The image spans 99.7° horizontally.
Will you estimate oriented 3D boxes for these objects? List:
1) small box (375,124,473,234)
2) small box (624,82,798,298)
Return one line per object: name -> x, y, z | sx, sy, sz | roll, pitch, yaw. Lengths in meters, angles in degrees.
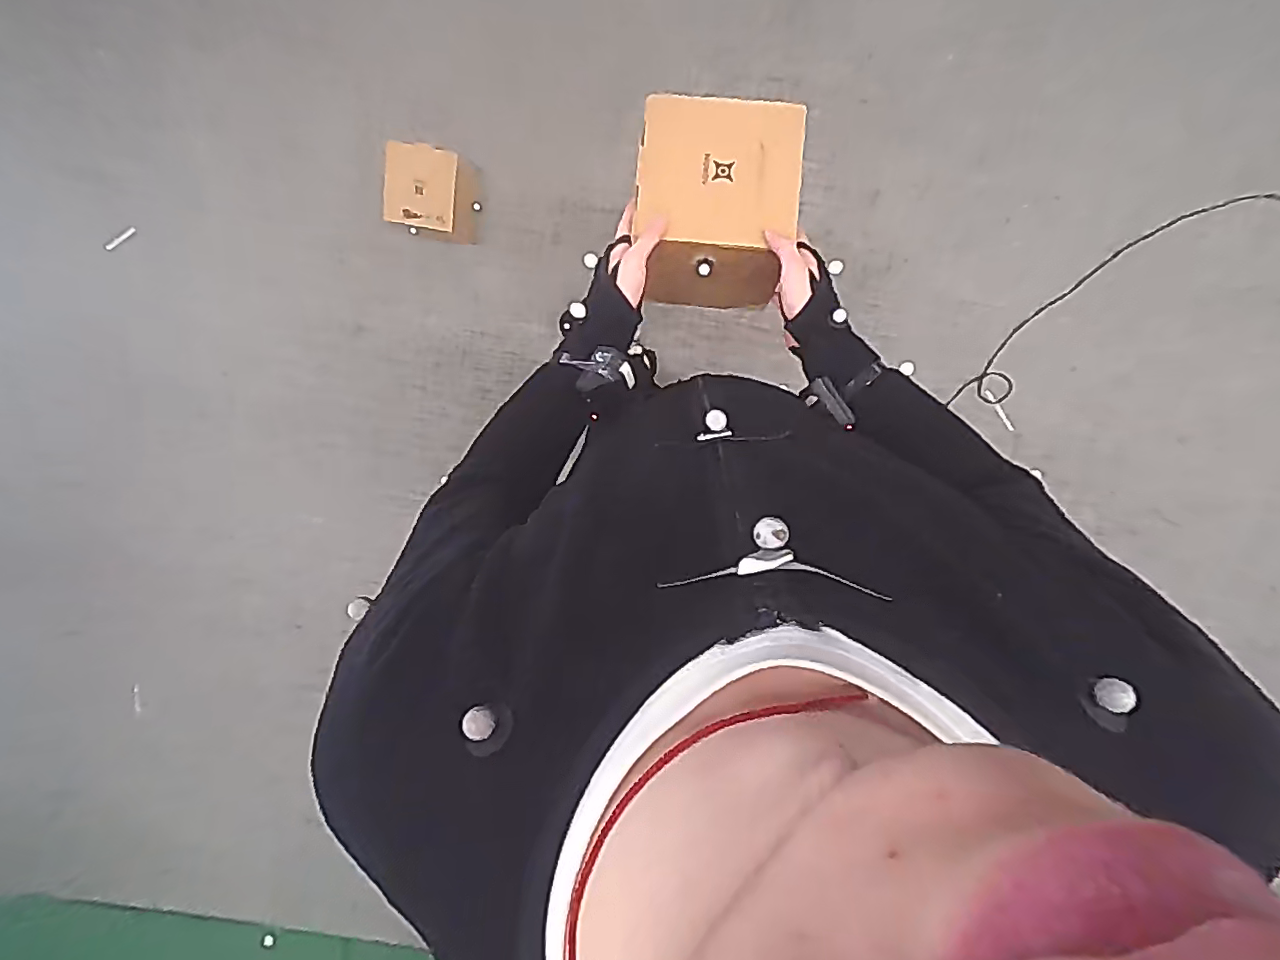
small box -> -0.516, -0.719, 1.309 | 0.168, 0.176, 0.179 | 11, 104, -2
small box -> 0.077, -0.335, 0.655 | 0.179, 0.176, 0.168 | 5, 86, 0
